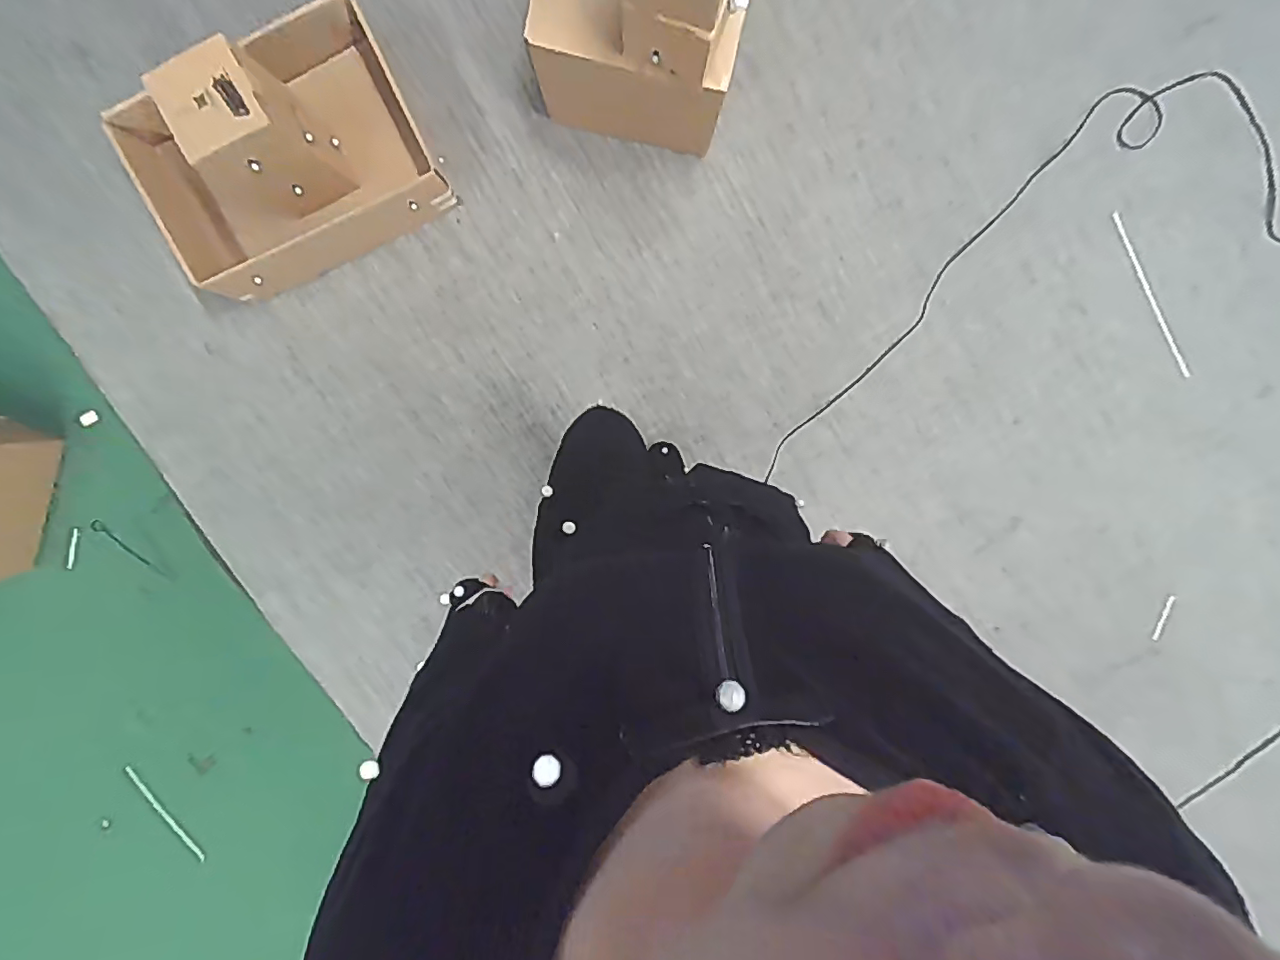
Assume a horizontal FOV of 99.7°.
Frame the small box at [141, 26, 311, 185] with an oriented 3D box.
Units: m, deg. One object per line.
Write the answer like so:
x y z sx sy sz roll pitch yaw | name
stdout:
-0.786 -0.716 1.055 0.179 0.176 0.168 -23 100 5 | small box

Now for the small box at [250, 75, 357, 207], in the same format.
-0.787 -0.747 1.217 0.179 0.176 0.168 -24 100 4 | small box

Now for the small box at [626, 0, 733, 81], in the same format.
0.077 -0.856 0.944 0.168 0.176 0.179 21 103 -5 | small box

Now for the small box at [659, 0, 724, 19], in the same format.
0.065 -0.825 0.783 0.179 0.176 0.168 17 103 -3 | small box
